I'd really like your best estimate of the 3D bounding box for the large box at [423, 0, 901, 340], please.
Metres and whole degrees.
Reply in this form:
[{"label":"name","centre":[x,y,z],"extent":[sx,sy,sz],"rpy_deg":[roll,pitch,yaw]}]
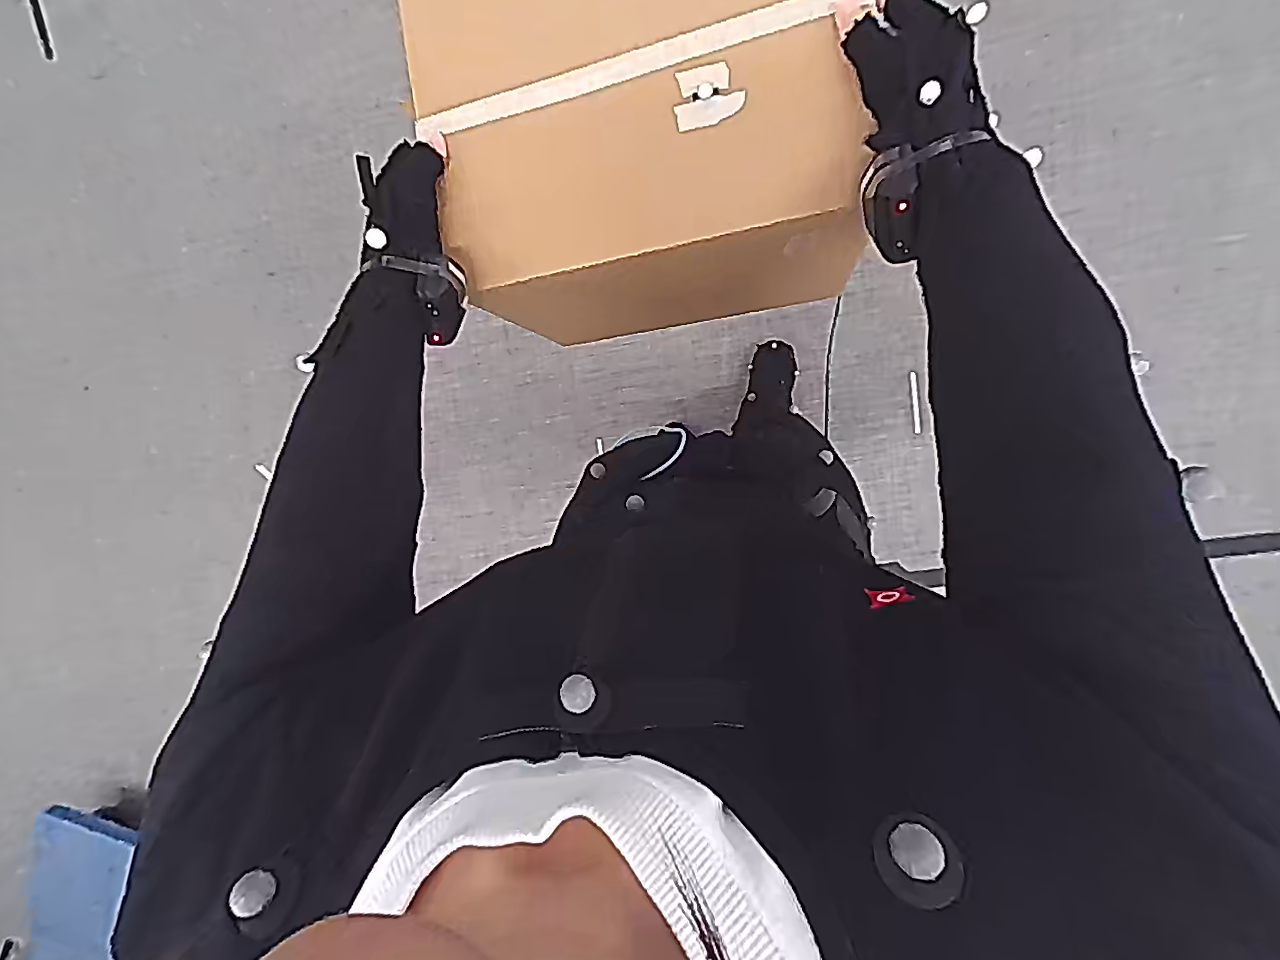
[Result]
[{"label":"large box","centre":[0.030,-0.374,0.622],"extent":[0.408,0.320,0.320],"rpy_deg":[-7,93,12]}]
